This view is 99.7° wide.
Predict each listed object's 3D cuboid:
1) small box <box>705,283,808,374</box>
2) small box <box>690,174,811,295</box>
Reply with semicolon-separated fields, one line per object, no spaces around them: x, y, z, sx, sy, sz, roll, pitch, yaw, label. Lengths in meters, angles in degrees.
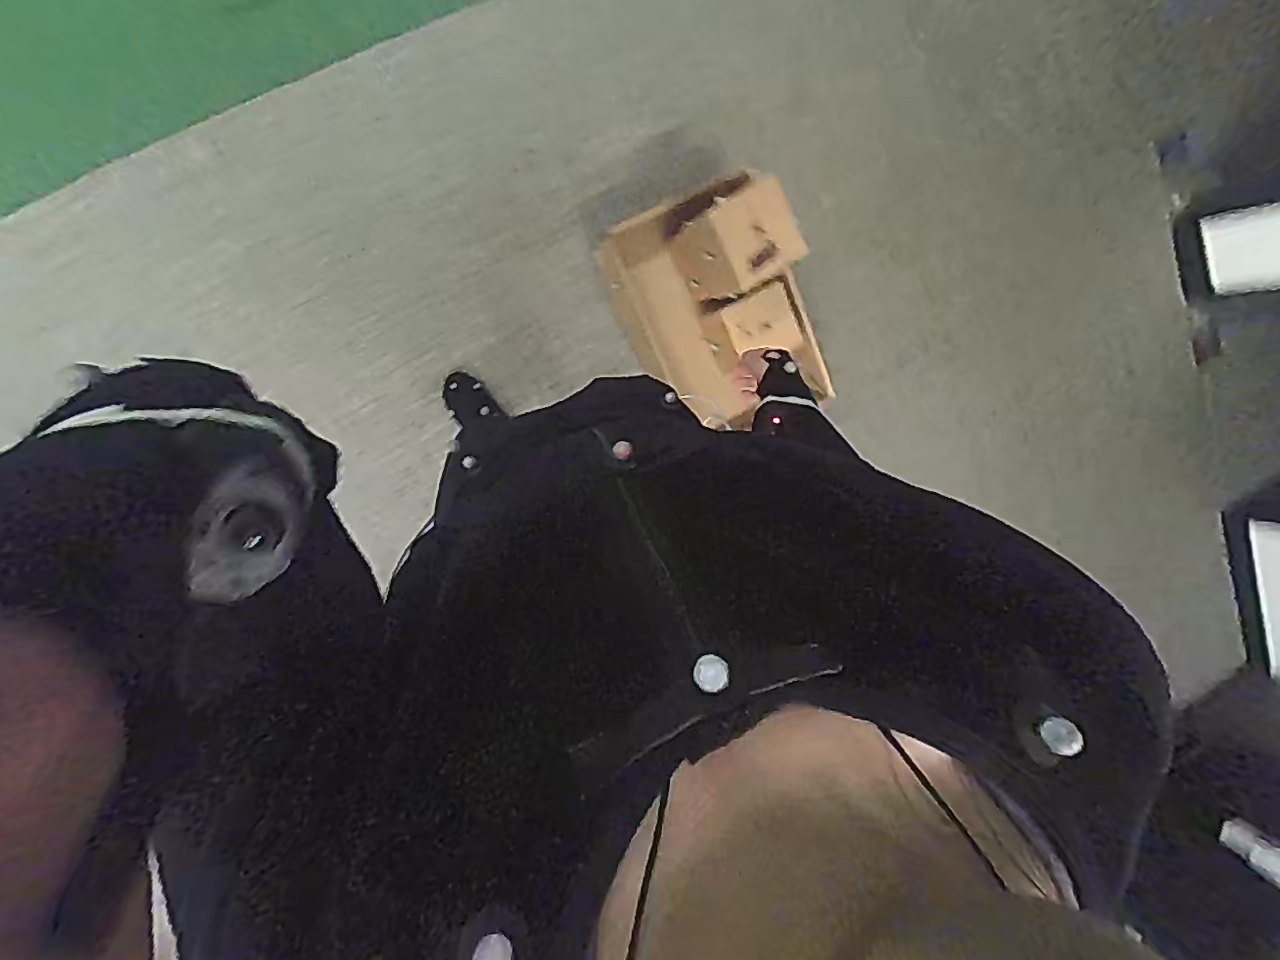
0.292;-0.383;1.386;0.179;0.176;0.168;-27;105;-6;small box
0.233;-0.518;1.171;0.168;0.176;0.179;-31;106;-5;small box
